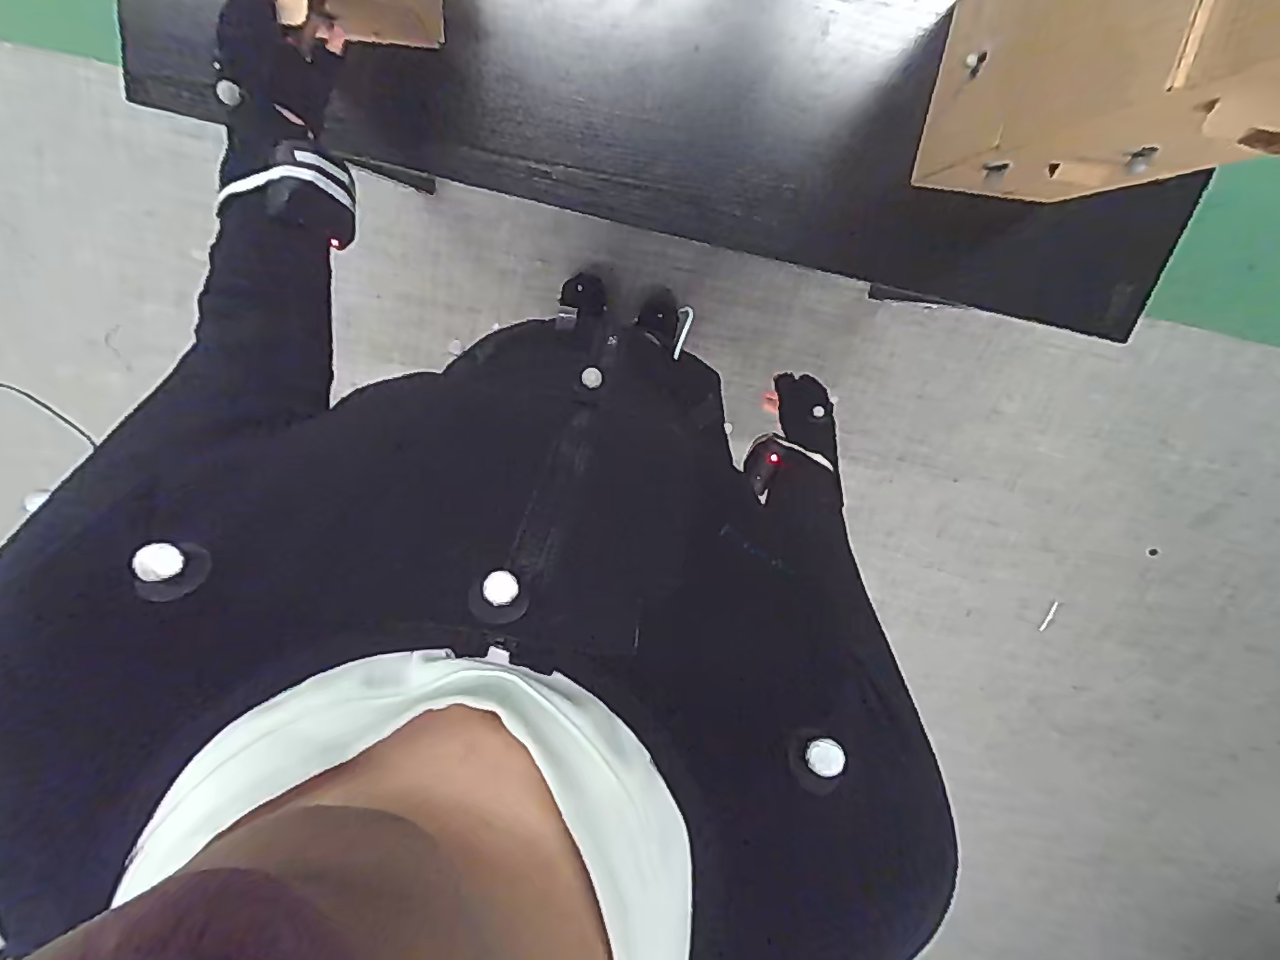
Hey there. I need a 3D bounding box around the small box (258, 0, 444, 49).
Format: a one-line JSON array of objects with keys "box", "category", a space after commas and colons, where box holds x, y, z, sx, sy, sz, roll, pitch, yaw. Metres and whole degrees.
[{"box": [-0.283, -0.523, 0.475, 0.168, 0.176, 0.179, 4, 111, -1], "category": "small box"}]

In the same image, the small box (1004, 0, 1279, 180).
[{"box": [0.392, -0.322, 0.364, 0.168, 0.176, 0.179, 5, 110, -1], "category": "small box"}]
